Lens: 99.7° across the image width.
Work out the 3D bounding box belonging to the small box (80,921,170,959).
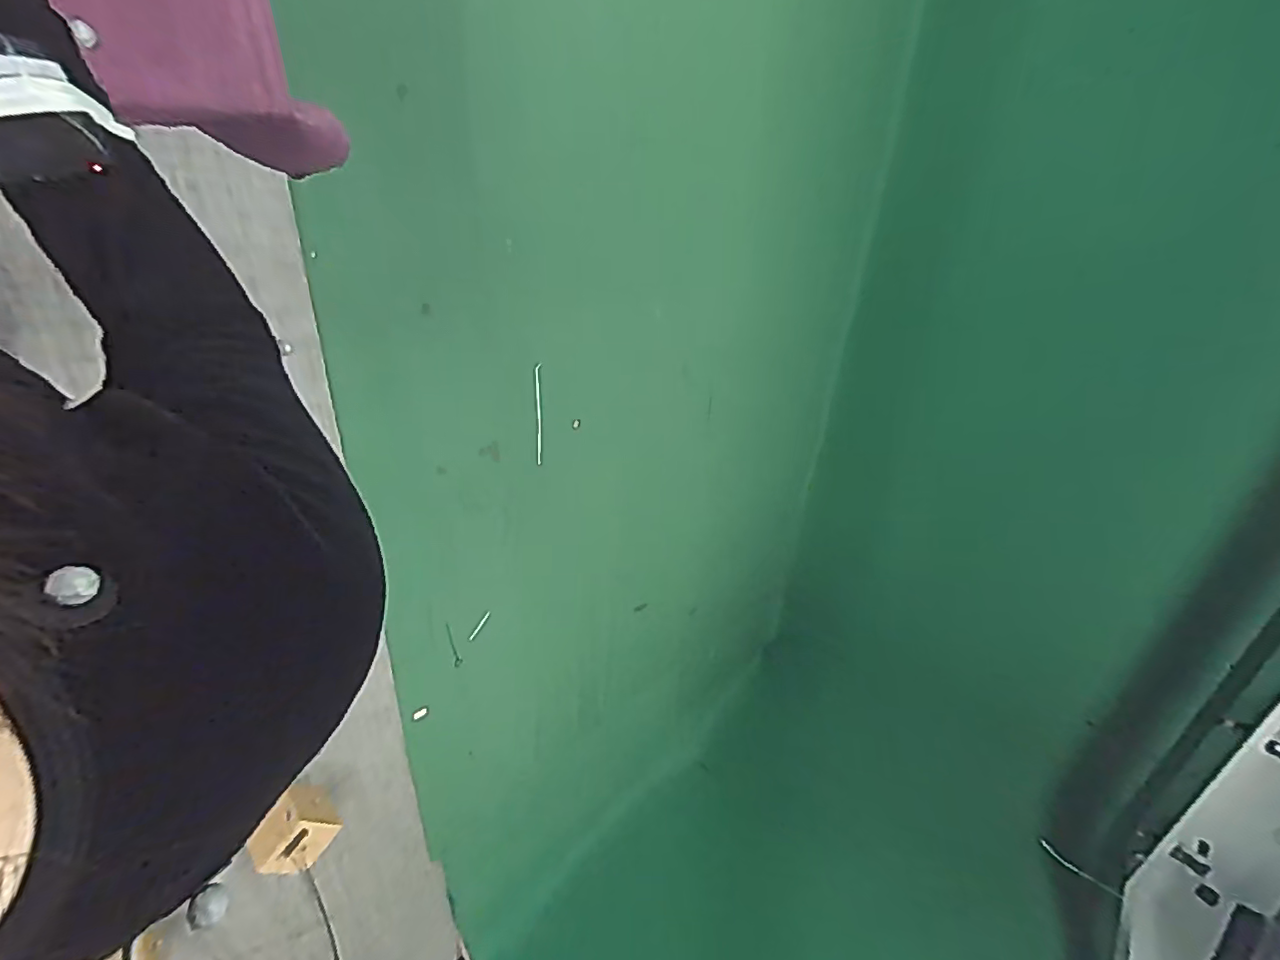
[{"bbox_3d":[-1.395,1.350,1.451,0.179,0.176,0.168,-31,132,-38],"label":"small box"}]
